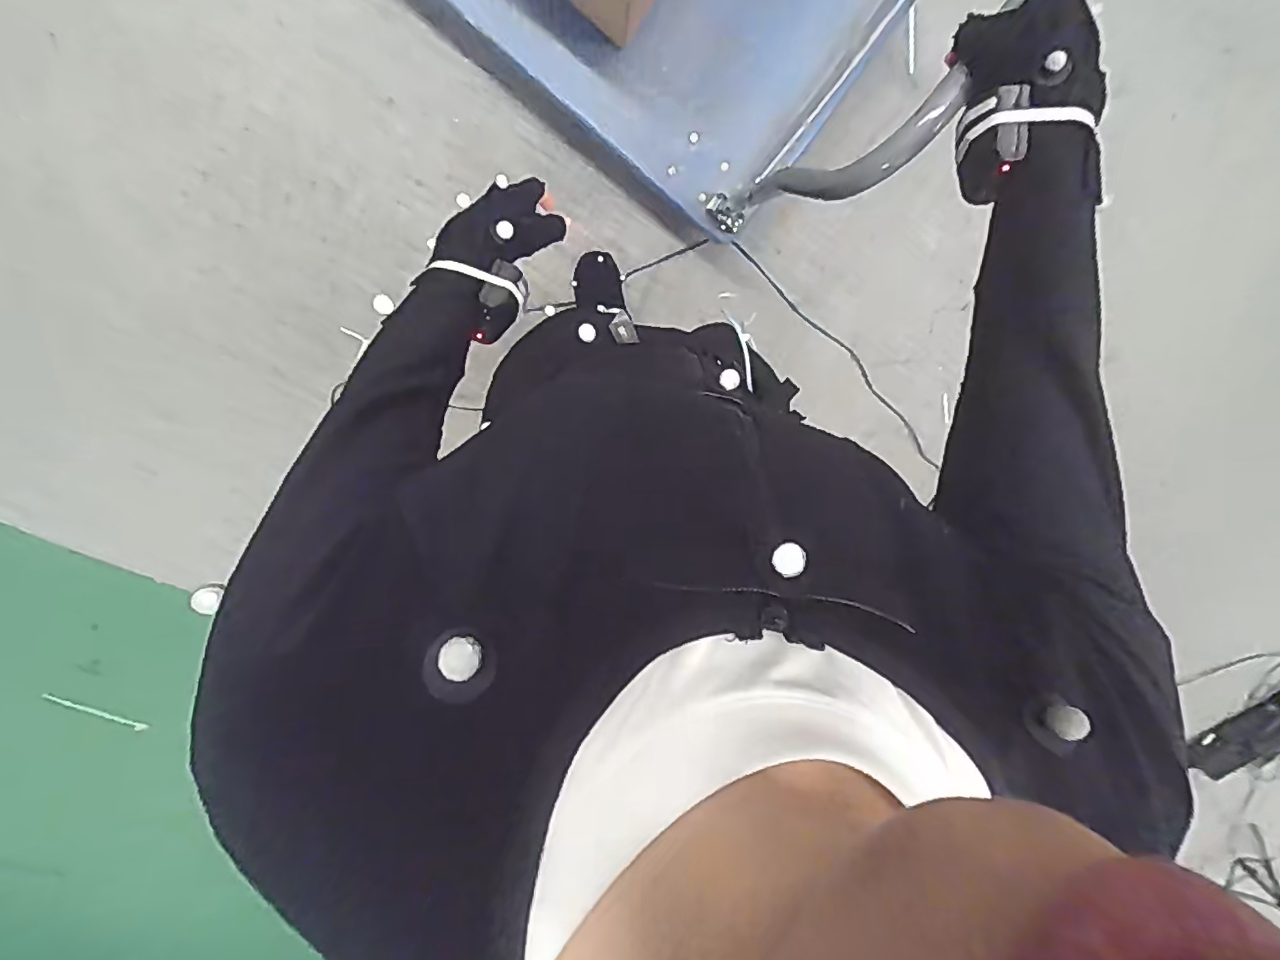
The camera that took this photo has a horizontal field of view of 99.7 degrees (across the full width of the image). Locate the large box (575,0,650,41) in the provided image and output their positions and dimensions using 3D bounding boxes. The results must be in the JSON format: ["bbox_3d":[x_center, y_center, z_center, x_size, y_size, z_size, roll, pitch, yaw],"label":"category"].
[{"bbox_3d":[-0.027,-0.943,0.736,0.320,0.320,0.408,32,111,-17],"label":"large box"}]
